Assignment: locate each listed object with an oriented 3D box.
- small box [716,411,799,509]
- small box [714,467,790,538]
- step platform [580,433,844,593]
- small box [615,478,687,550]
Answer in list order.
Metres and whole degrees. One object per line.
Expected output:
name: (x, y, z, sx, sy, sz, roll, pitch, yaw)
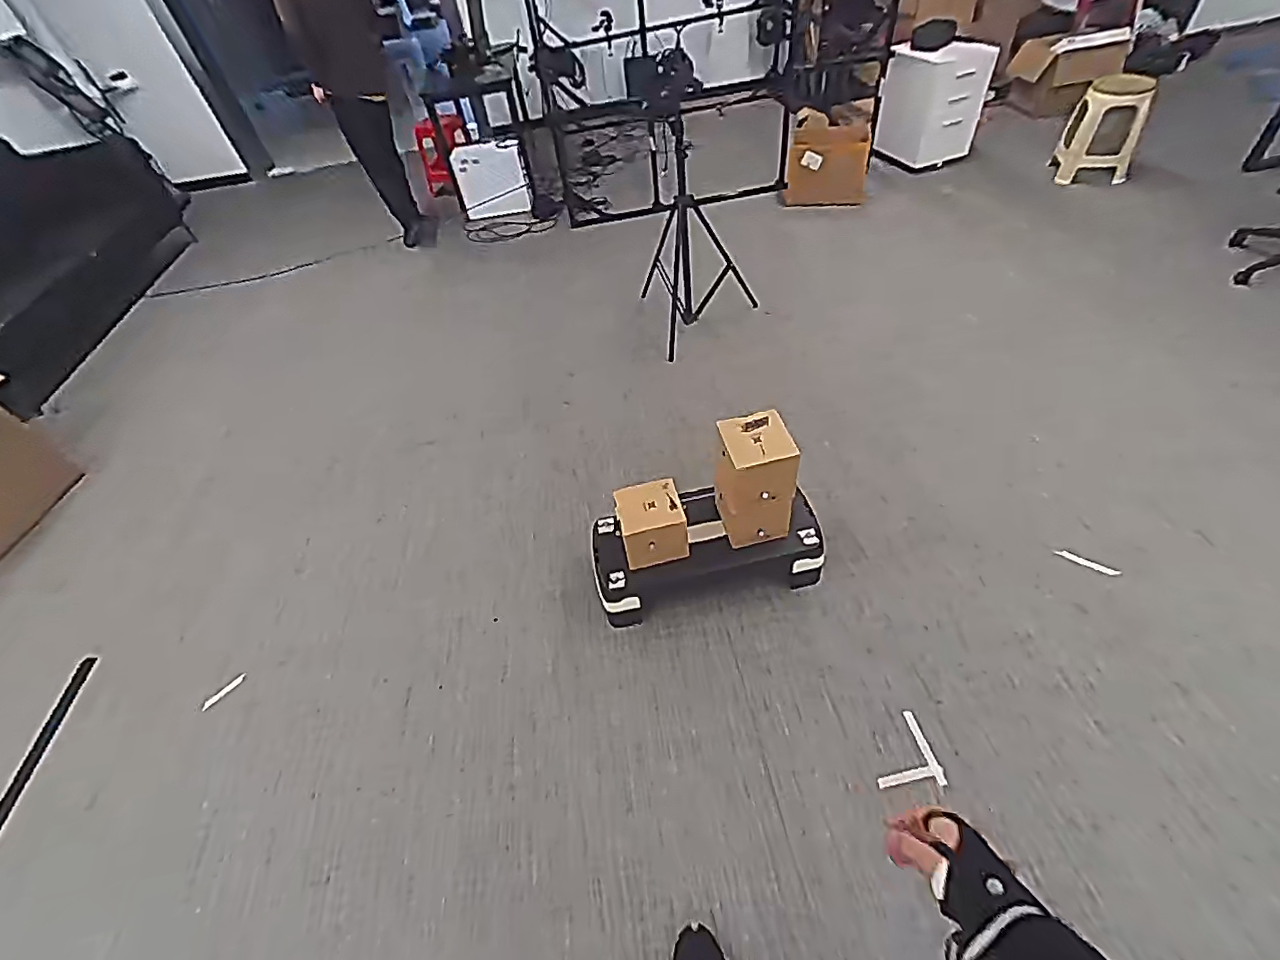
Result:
small box: (0.303, -0.051, 1.432, 0.168, 0.176, 0.179, -14, 49, -2)
small box: (0.314, 0.062, 1.551, 0.168, 0.176, 0.179, -13, 48, -2)
step platform: (0.189, 0.093, 1.496, 0.684, 0.204, 0.286, -12, 47, -2)
small box: (0.031, 0.125, 1.541, 0.179, 0.176, 0.168, -14, 48, -3)
